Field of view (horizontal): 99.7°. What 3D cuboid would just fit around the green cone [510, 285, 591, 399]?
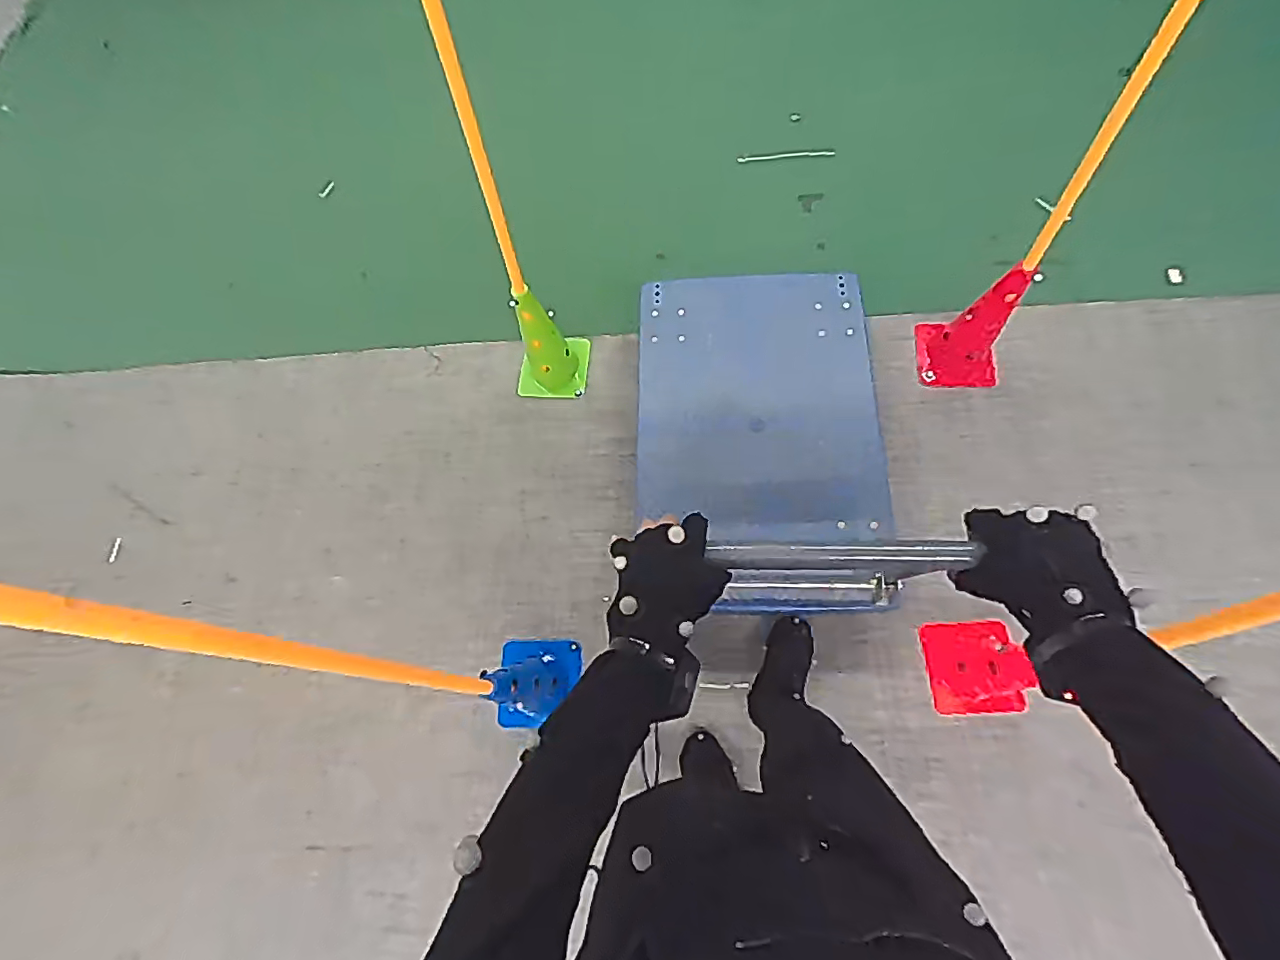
[{"bbox_3d":[-0.268,-0.393,1.458,0.202,0.368,0.200,2,70,7],"label":"green cone"}]

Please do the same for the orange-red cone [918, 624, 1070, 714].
[{"bbox_3d":[0.739,0.377,1.092,0.199,0.360,0.198,-3,70,6],"label":"orange-red cone"}]
